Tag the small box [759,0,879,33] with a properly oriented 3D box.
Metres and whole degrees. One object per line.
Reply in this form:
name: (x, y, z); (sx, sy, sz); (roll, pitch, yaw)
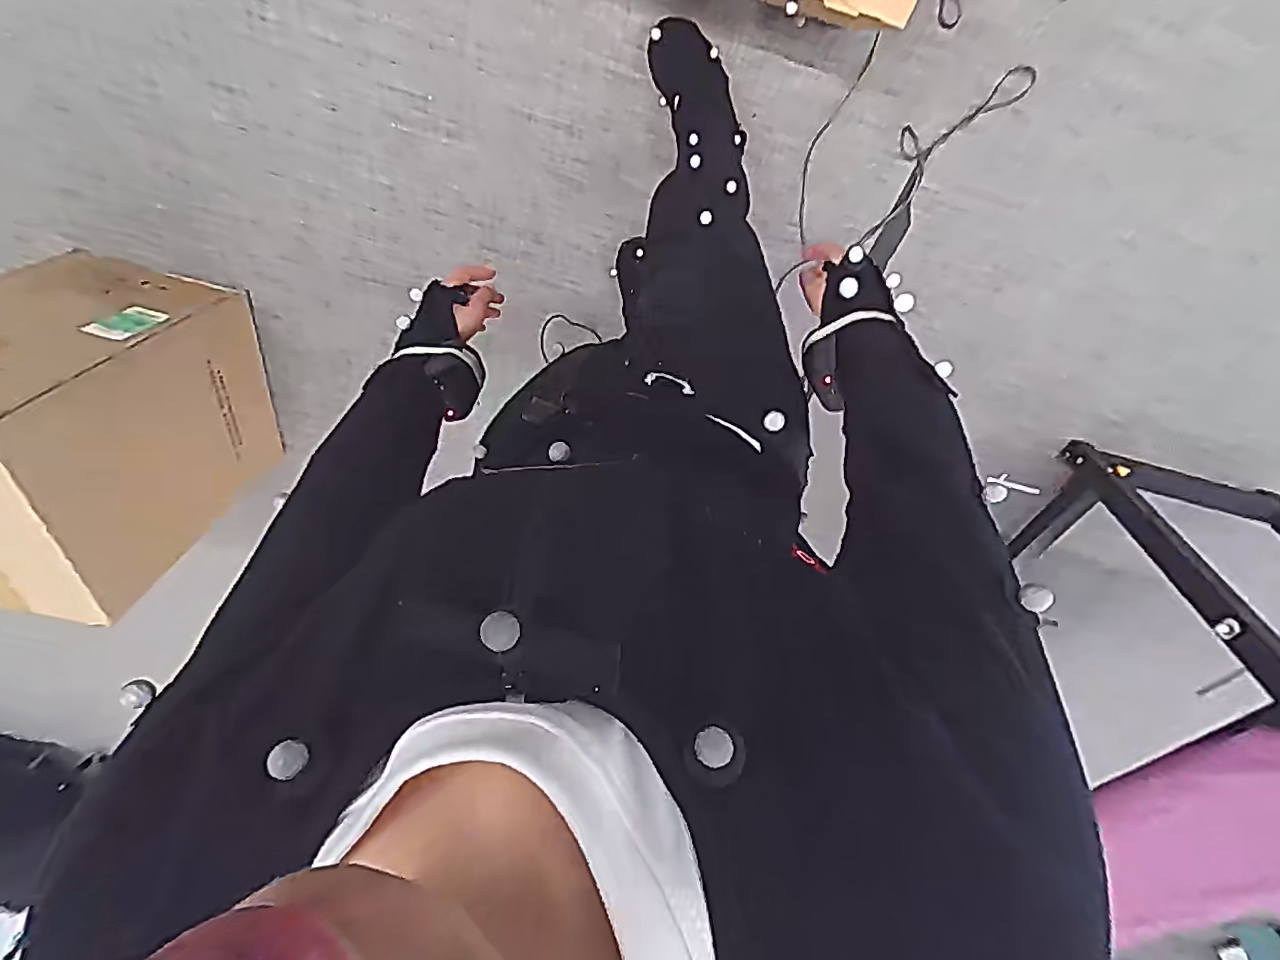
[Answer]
small box: (0.276, -0.781, 0.782); (0.168, 0.176, 0.179); (14, 130, -5)
